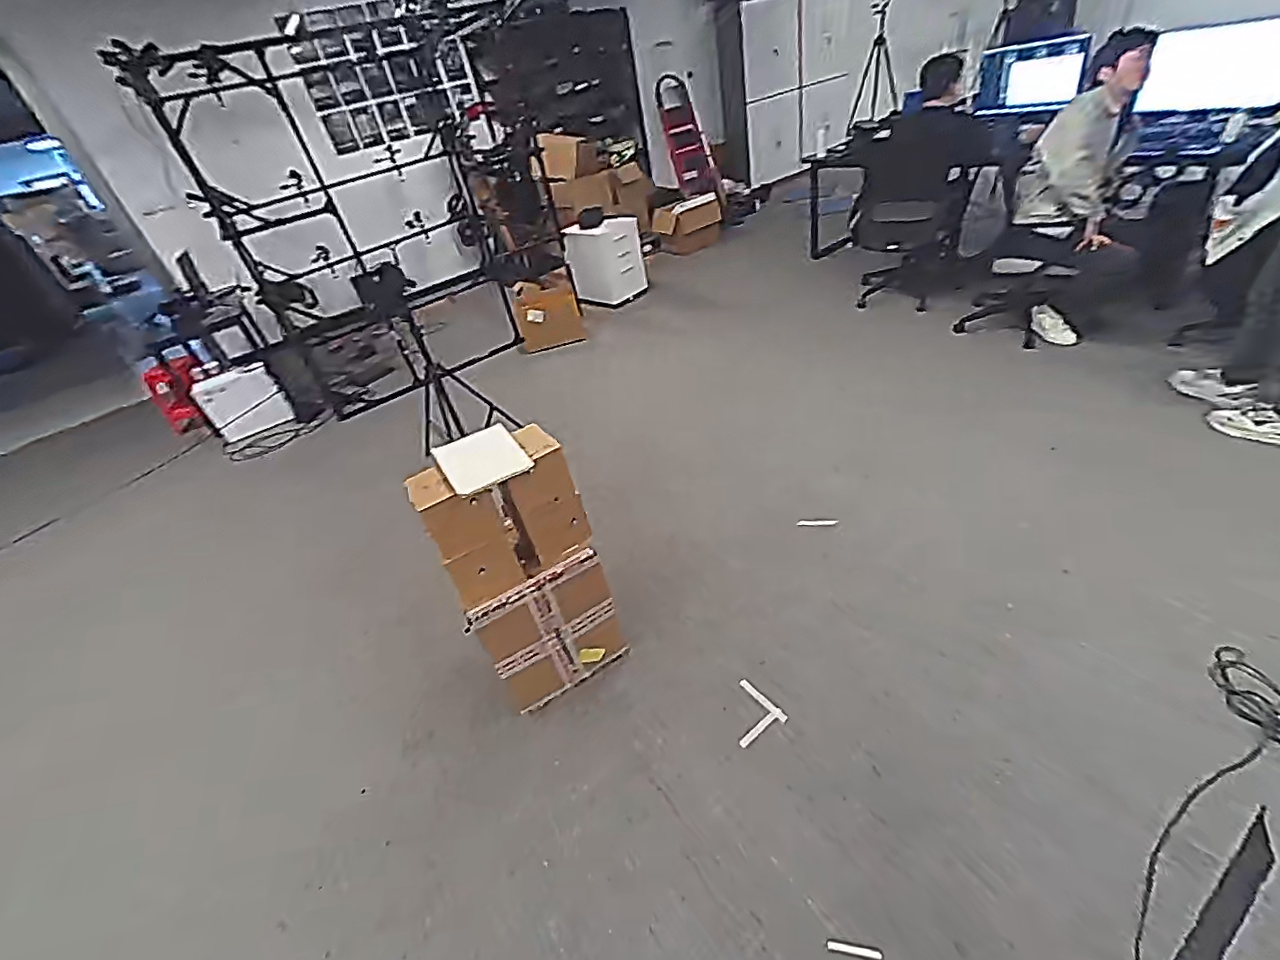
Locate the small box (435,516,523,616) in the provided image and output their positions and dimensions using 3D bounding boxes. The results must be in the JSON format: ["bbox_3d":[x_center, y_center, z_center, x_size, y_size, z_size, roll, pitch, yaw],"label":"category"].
[{"bbox_3d":[-0.439,0.239,1.498,0.179,0.176,0.168,-26,40,-15],"label":"small box"}]

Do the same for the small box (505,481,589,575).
[{"bbox_3d":[-0.263,0.139,1.574,0.179,0.176,0.168,-31,41,-22],"label":"small box"}]
